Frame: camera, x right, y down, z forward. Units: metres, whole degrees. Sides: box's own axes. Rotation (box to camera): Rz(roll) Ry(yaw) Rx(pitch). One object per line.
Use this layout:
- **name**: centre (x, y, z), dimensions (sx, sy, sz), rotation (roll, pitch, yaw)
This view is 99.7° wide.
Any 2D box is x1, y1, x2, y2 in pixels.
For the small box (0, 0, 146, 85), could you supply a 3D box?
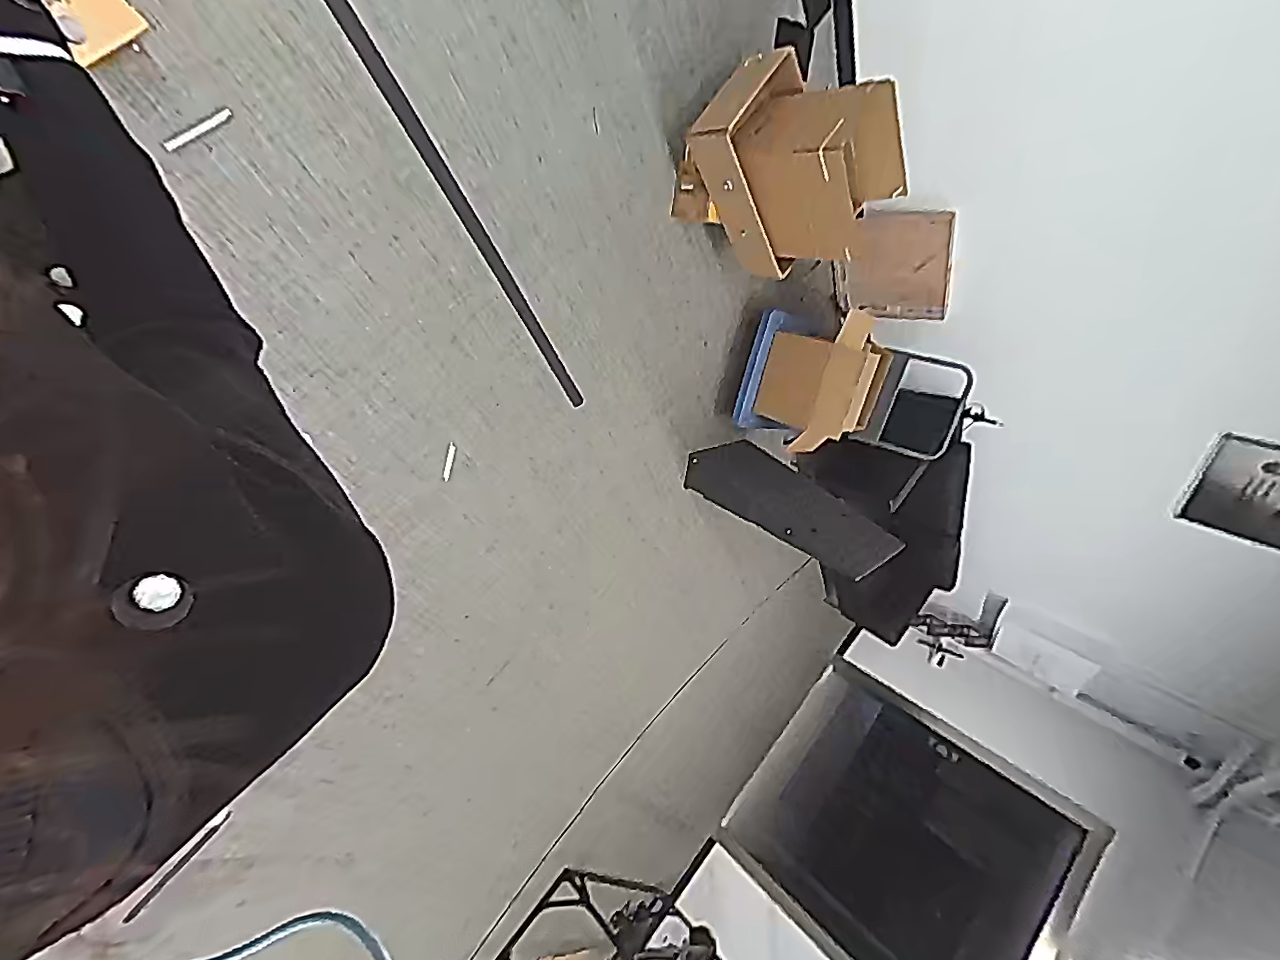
- **small box**: centre (-0.986, -0.797, 0.904), dimensions (0.179, 0.176, 0.168), rotation (-50, 140, -14)
